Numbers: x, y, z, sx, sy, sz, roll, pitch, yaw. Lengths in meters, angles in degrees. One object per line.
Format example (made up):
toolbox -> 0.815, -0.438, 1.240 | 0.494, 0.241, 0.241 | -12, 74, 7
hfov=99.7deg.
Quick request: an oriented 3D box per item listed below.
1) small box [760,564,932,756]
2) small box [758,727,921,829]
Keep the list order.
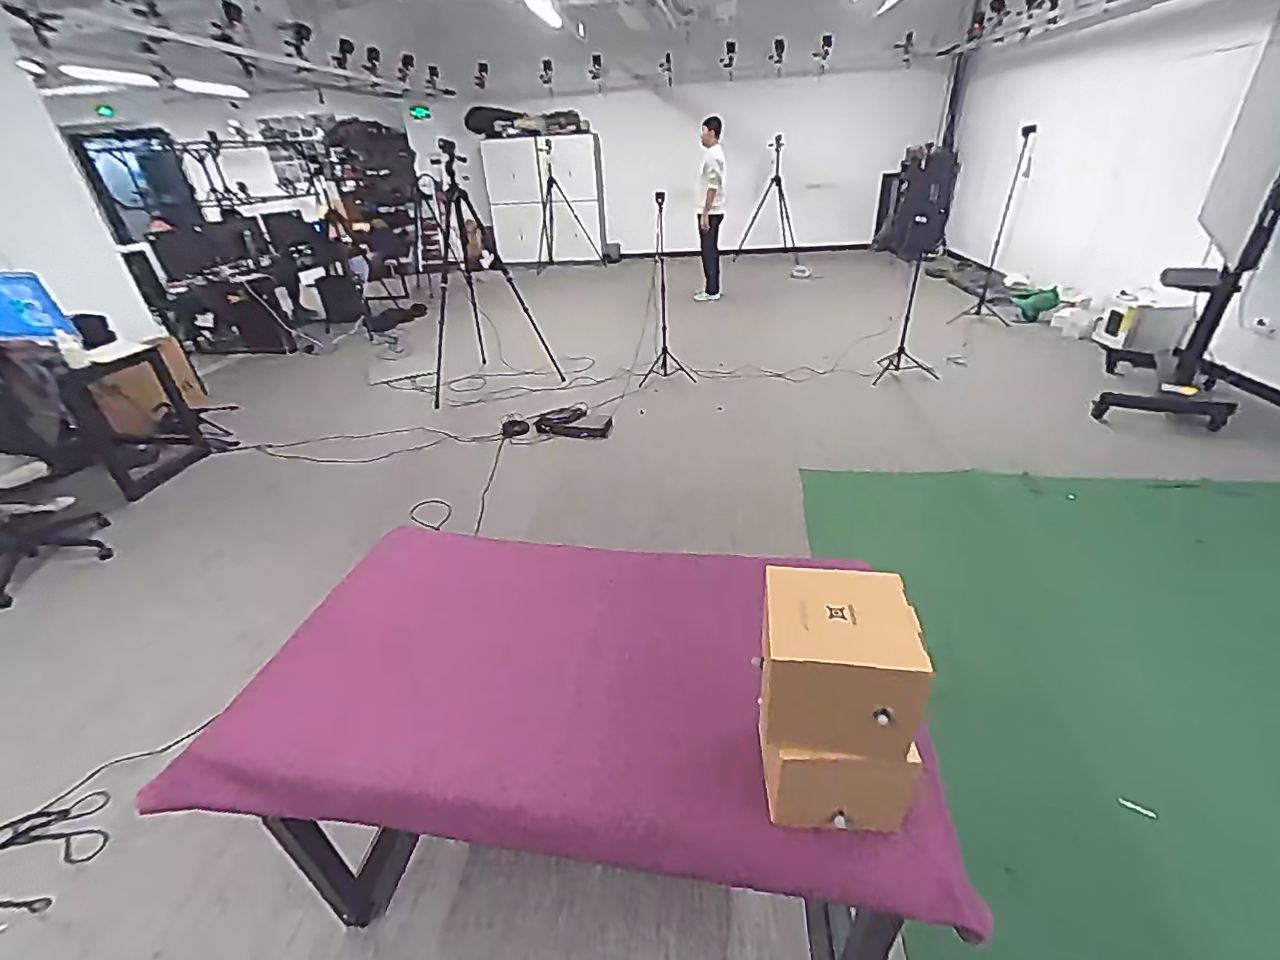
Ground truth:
small box -> 0.251, 0.231, 0.705 | 0.179, 0.176, 0.168 | 1, 31, 11
small box -> 0.272, 0.376, 0.781 | 0.179, 0.176, 0.168 | -1, 31, 5
